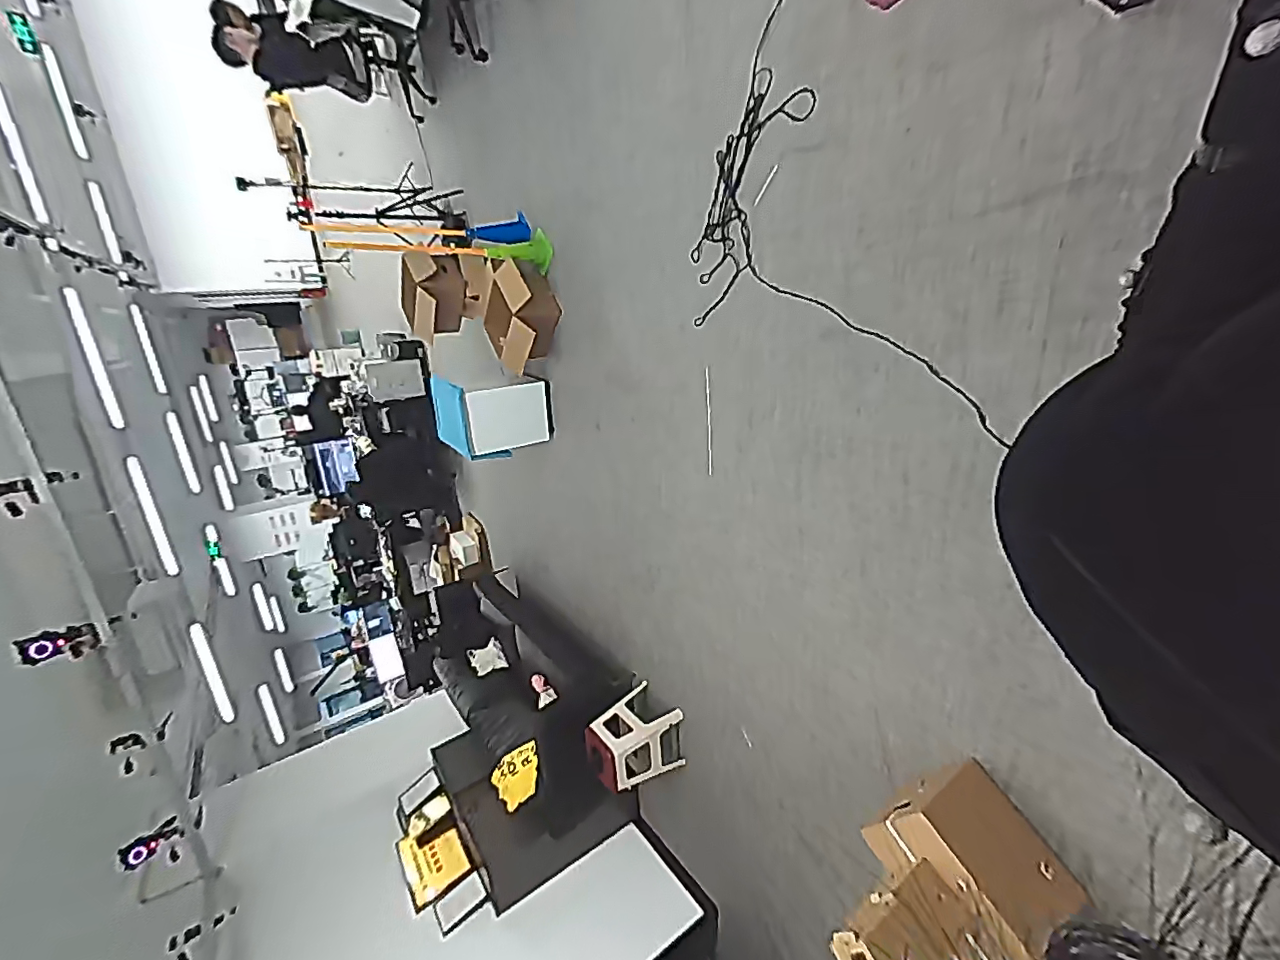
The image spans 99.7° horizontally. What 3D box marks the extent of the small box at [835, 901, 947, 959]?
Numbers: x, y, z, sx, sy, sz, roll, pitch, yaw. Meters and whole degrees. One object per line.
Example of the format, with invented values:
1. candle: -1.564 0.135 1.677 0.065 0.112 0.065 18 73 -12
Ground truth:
1. small box: 0.652 1.228 1.397 0.179 0.176 0.168 53 143 27

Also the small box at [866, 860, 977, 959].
1. small box: 0.777 1.194 1.500 0.179 0.176 0.168 52 143 32
